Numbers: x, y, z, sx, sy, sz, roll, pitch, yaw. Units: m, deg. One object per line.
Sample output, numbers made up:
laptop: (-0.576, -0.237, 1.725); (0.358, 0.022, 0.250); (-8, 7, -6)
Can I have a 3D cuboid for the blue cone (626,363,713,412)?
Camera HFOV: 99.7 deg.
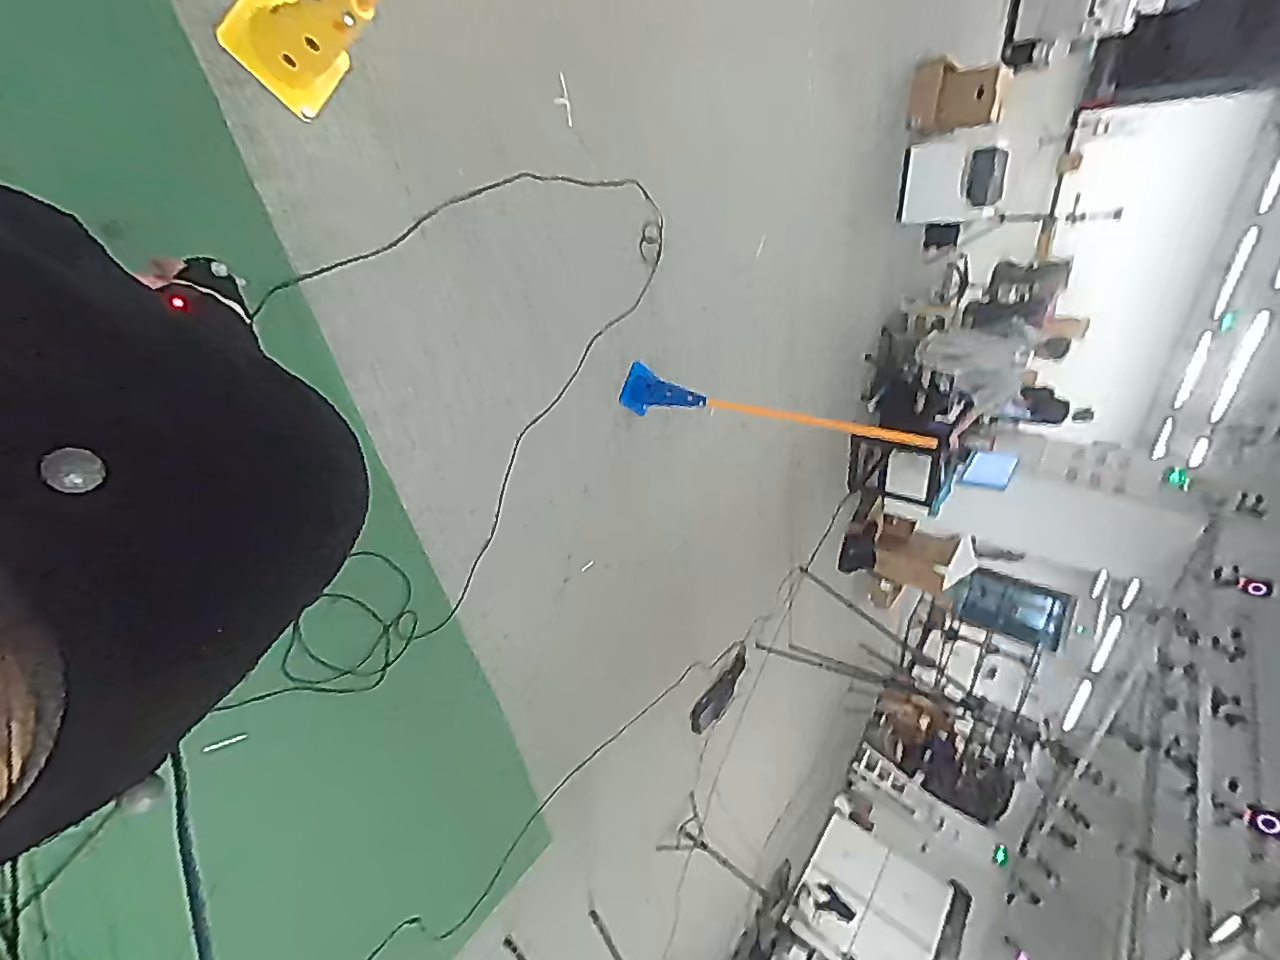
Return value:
blue cone: (0.142, -0.366, 2.281); (0.193, 0.380, 0.192); (24, 85, -55)
